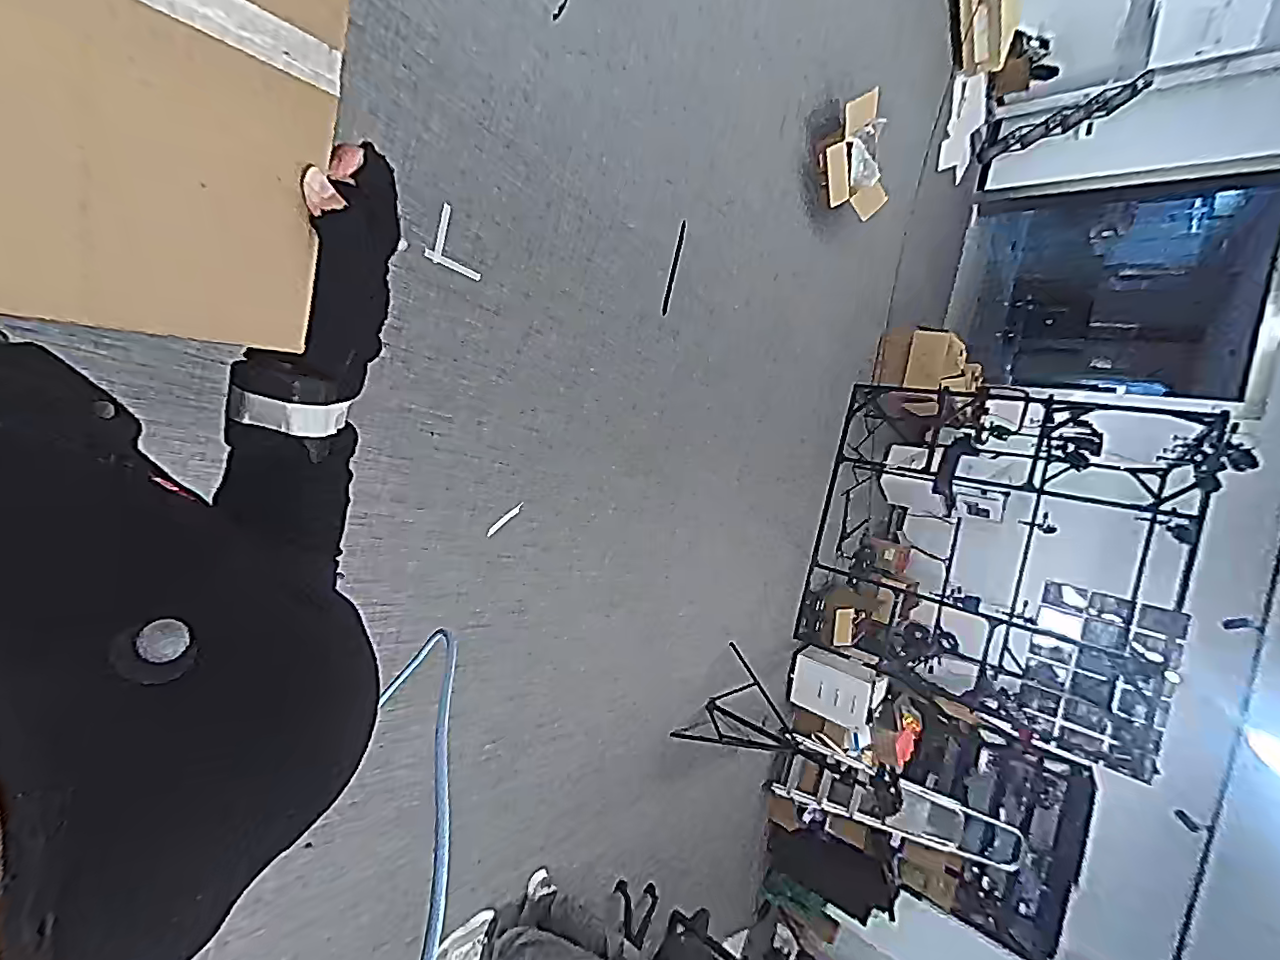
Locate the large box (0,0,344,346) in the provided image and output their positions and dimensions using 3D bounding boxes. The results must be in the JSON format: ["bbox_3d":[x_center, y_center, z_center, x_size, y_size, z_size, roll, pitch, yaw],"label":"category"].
[{"bbox_3d":[-0.407,-0.274,0.234,0.408,0.320,0.320,-4,118,-52],"label":"large box"}]
